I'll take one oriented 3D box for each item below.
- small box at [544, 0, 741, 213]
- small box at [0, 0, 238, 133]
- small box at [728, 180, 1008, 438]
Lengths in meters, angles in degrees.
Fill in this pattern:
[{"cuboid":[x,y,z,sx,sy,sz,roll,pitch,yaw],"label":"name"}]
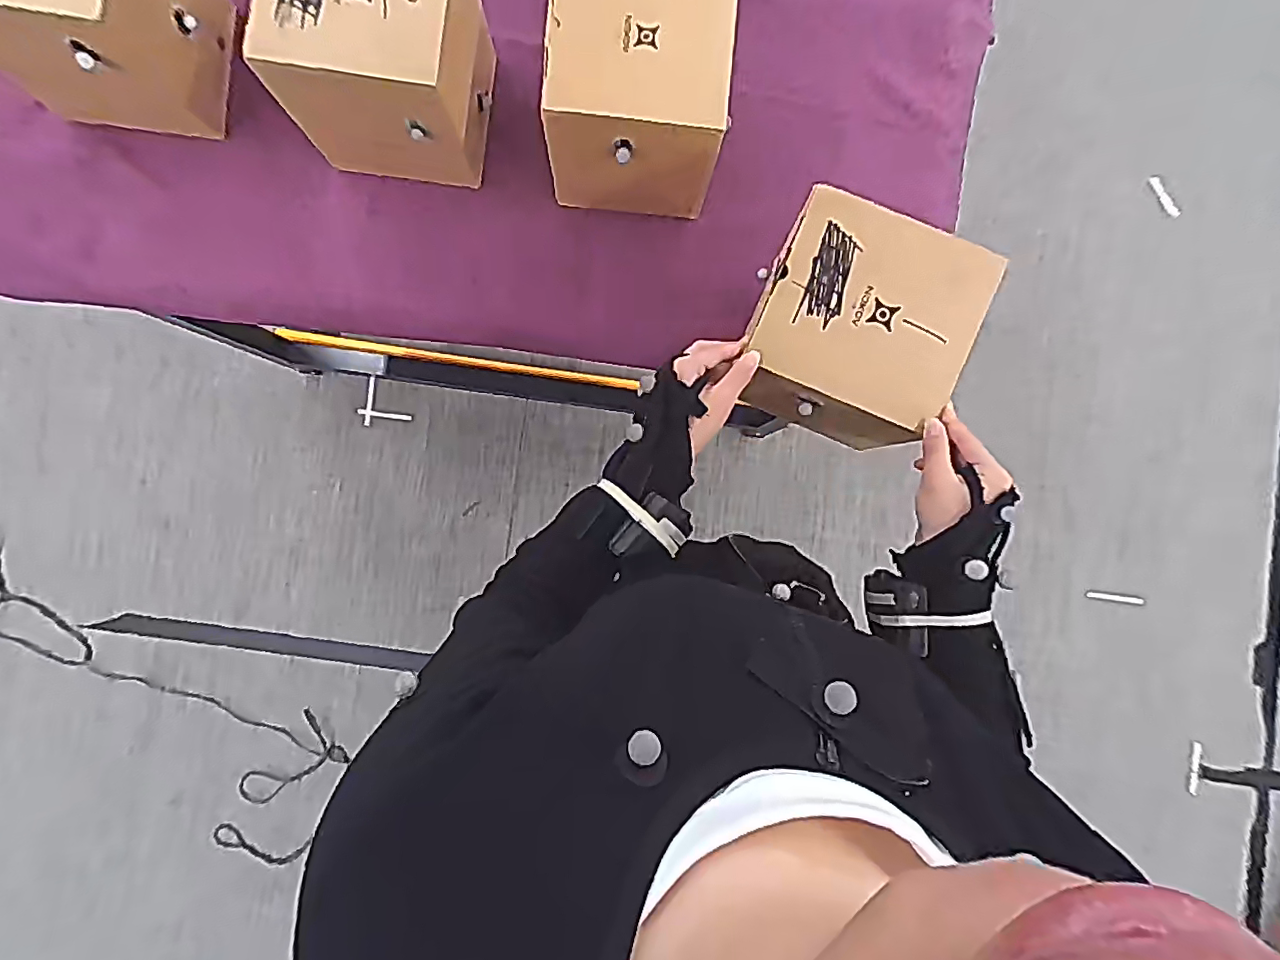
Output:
[{"cuboid":[0.001,-0.415,0.586,0.179,0.176,0.168,5,88,-2],"label":"small box"},{"cuboid":[-0.561,-0.496,0.559,0.179,0.176,0.168,5,88,-5],"label":"small box"},{"cuboid":[0.202,-0.149,0.537,0.179,0.176,0.168,23,91,2],"label":"small box"}]
